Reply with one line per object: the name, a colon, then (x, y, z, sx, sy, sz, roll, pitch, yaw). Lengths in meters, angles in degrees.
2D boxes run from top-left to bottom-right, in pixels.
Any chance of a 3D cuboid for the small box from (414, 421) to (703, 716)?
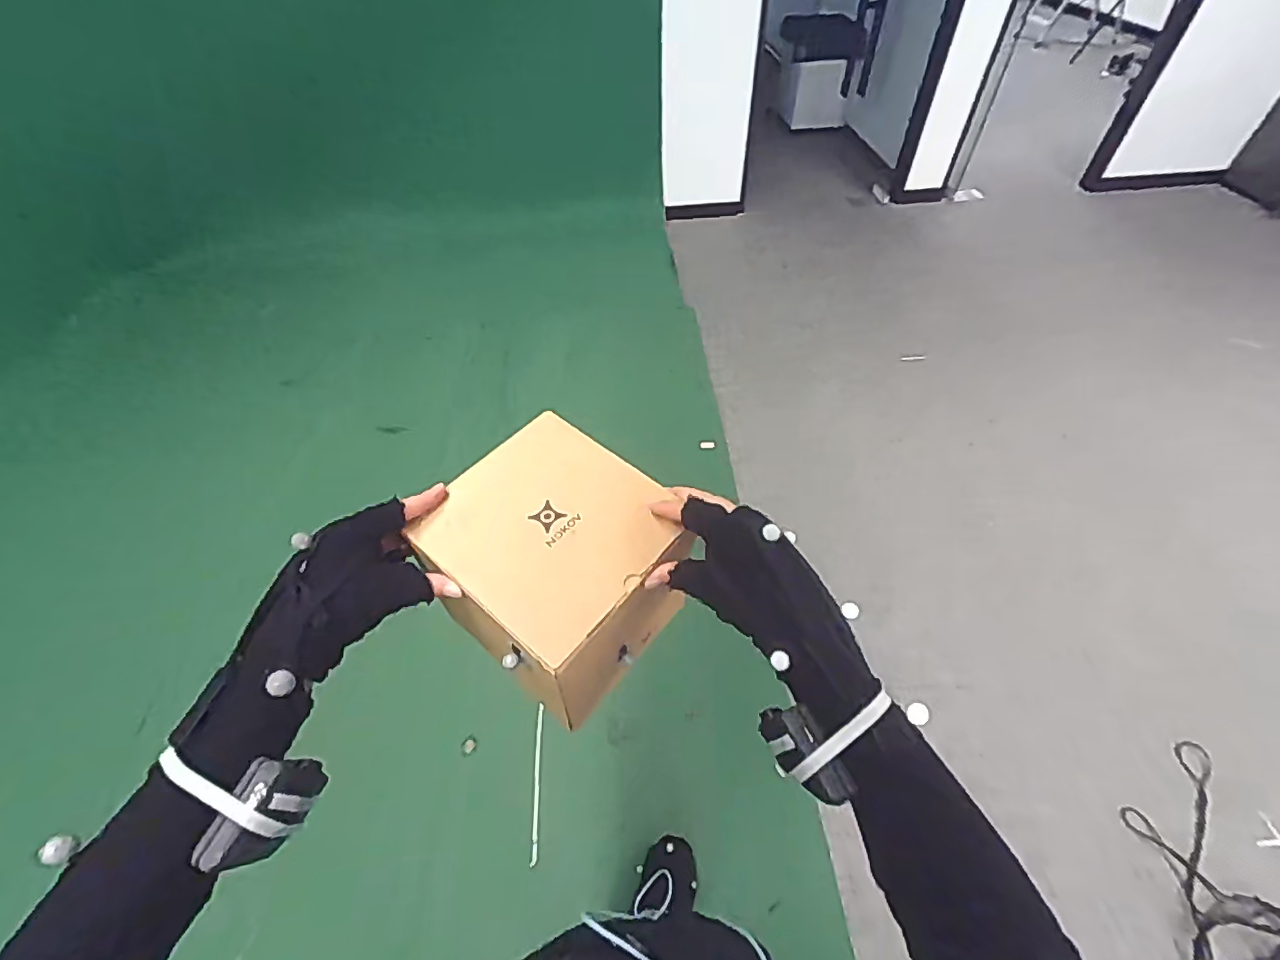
small box: (-0.069, 0.085, 0.499, 0.179, 0.176, 0.168, 35, 59, 21)
